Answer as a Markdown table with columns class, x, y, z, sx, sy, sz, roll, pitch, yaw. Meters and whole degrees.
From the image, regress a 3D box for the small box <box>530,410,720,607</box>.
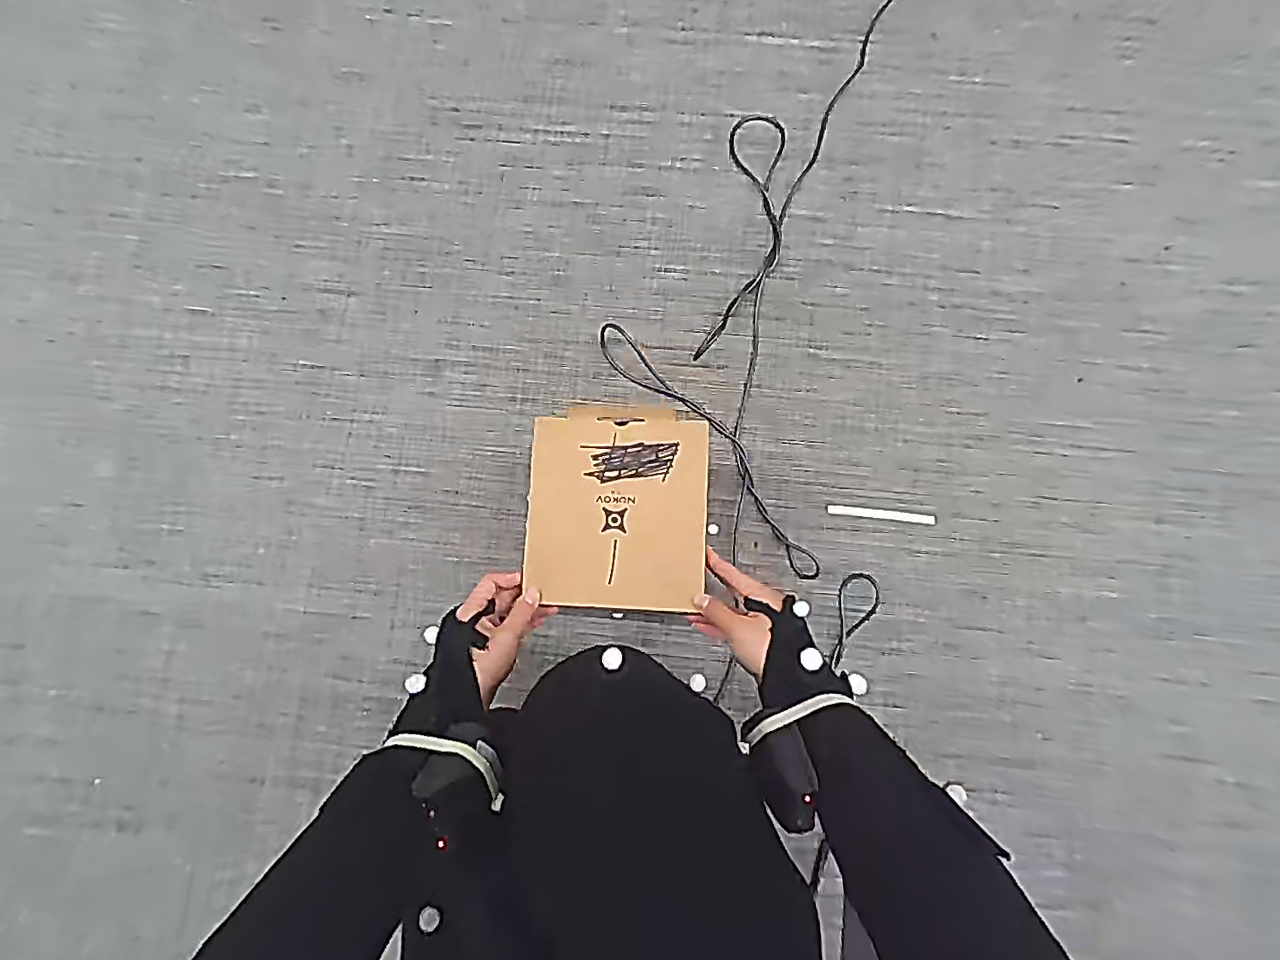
| class | x | y | z | sx | sy | sz | roll | pitch | yaw |
| --- | --- | --- | --- | --- | --- | --- | --- | --- | --- |
| small box | -0.008 | 0.036 | 0.570 | 0.168 | 0.176 | 0.179 | 2 | 81 | 4 |
